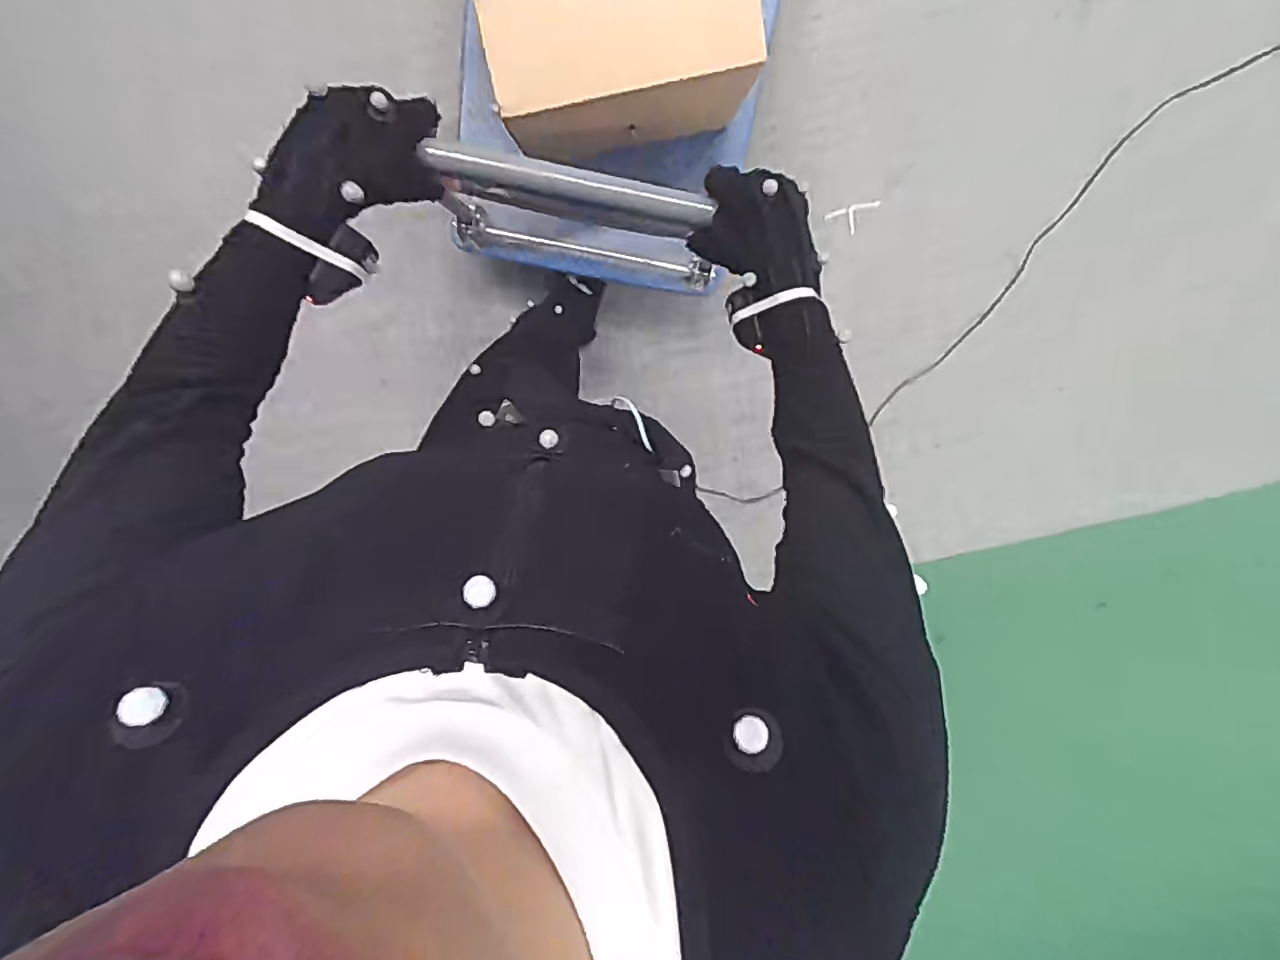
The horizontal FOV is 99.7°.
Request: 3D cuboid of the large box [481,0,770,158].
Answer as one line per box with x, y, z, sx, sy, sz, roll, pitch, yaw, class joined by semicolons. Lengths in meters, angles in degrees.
-0.033;-0.775;0.890;0.408;0.320;0.320;-11;108;3;large box
